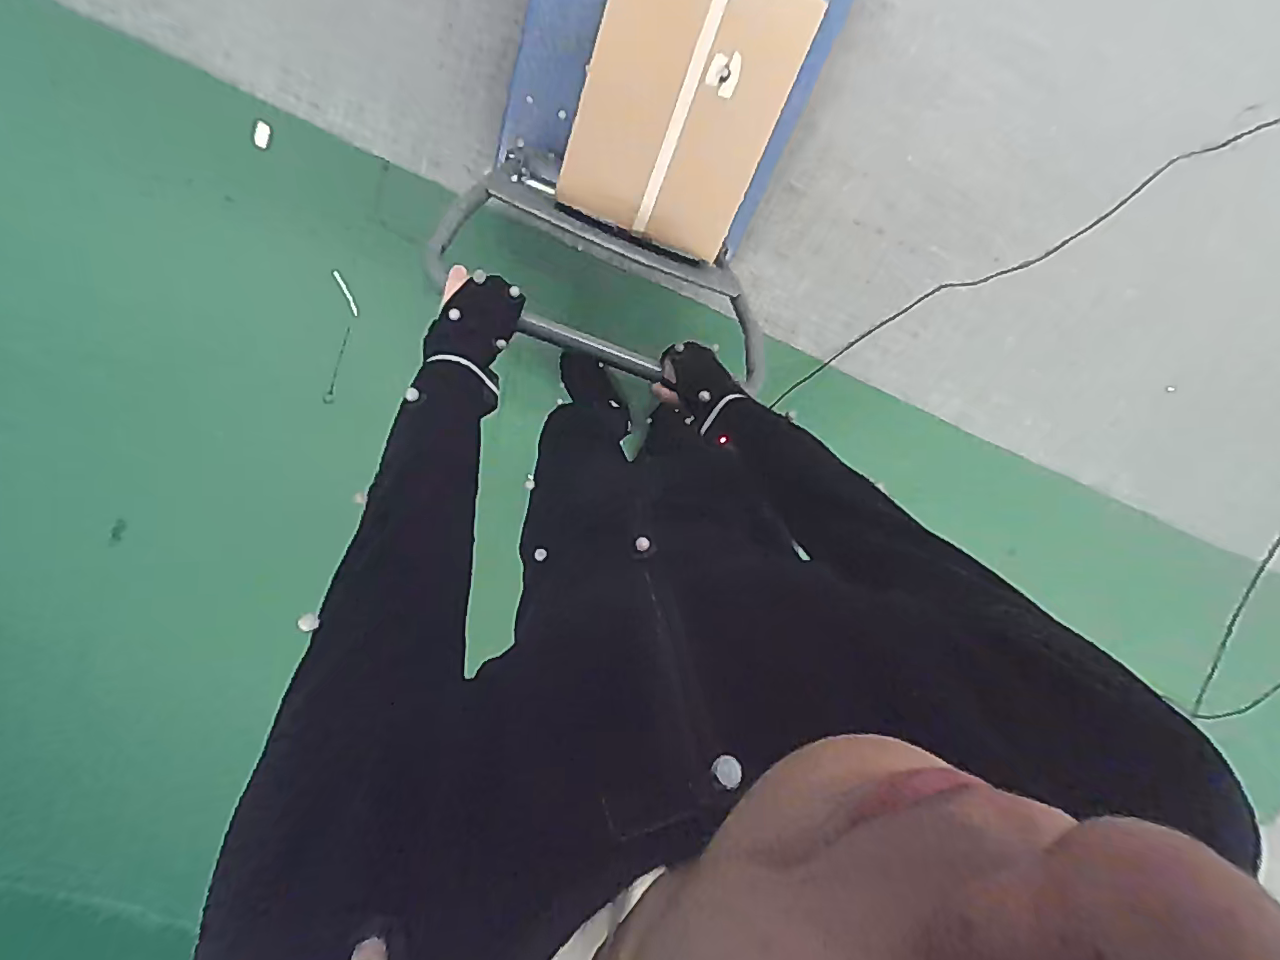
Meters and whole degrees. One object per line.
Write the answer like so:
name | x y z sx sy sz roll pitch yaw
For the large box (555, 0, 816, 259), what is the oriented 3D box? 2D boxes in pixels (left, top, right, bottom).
large box | 0.056 -0.691 1.013 0.320 0.320 0.408 18 120 -13
